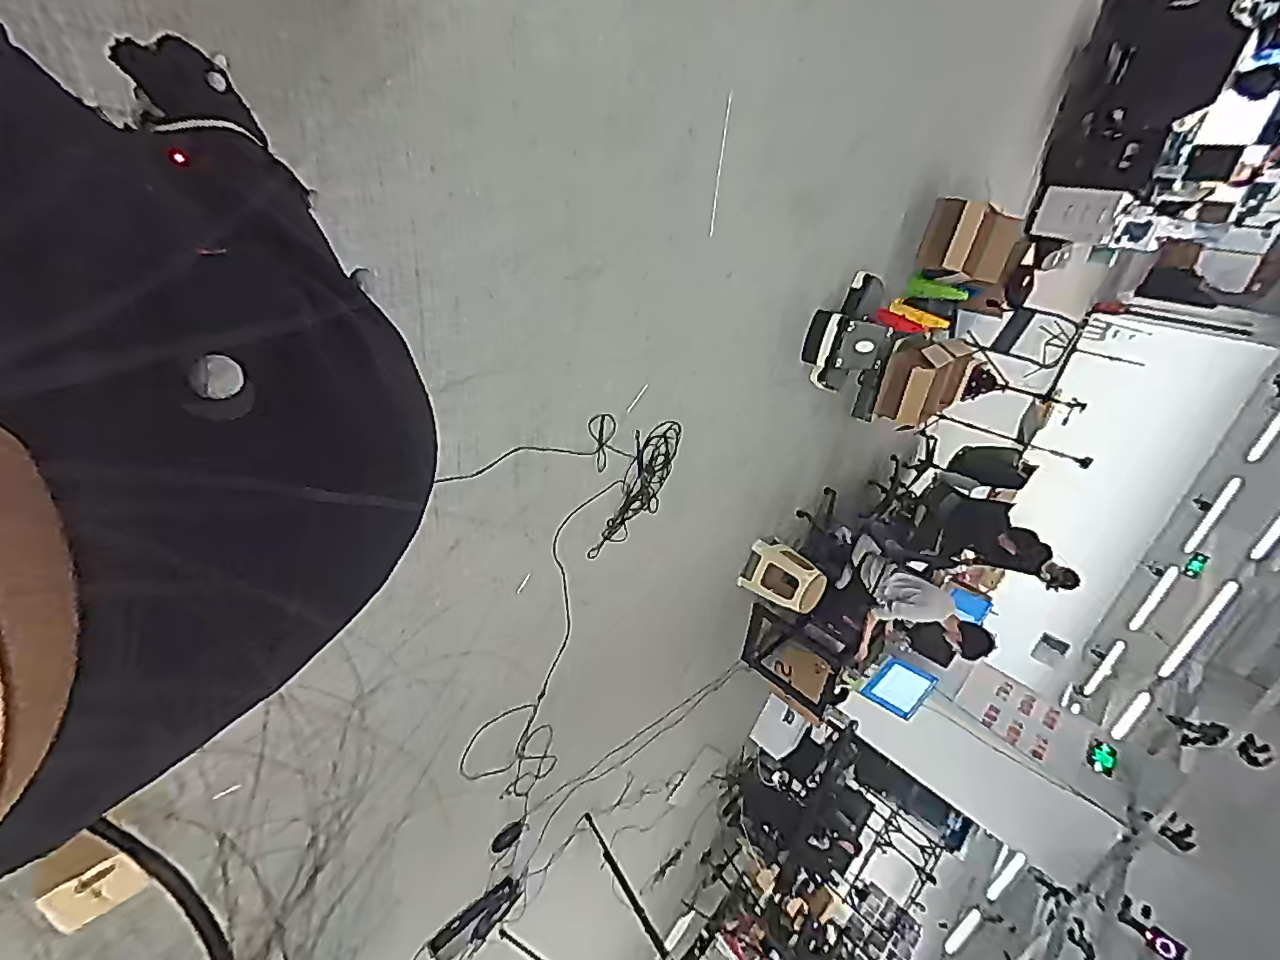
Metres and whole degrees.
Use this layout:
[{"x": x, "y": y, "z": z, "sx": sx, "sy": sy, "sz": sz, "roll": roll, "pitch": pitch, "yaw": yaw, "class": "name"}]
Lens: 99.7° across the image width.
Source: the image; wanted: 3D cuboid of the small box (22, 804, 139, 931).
[{"x": -1.412, "y": 0.964, "z": 1.365, "sx": 0.168, "sy": 0.176, "sz": 0.179, "roll": -21, "pitch": 129, "yaw": -39, "class": "small box"}]
